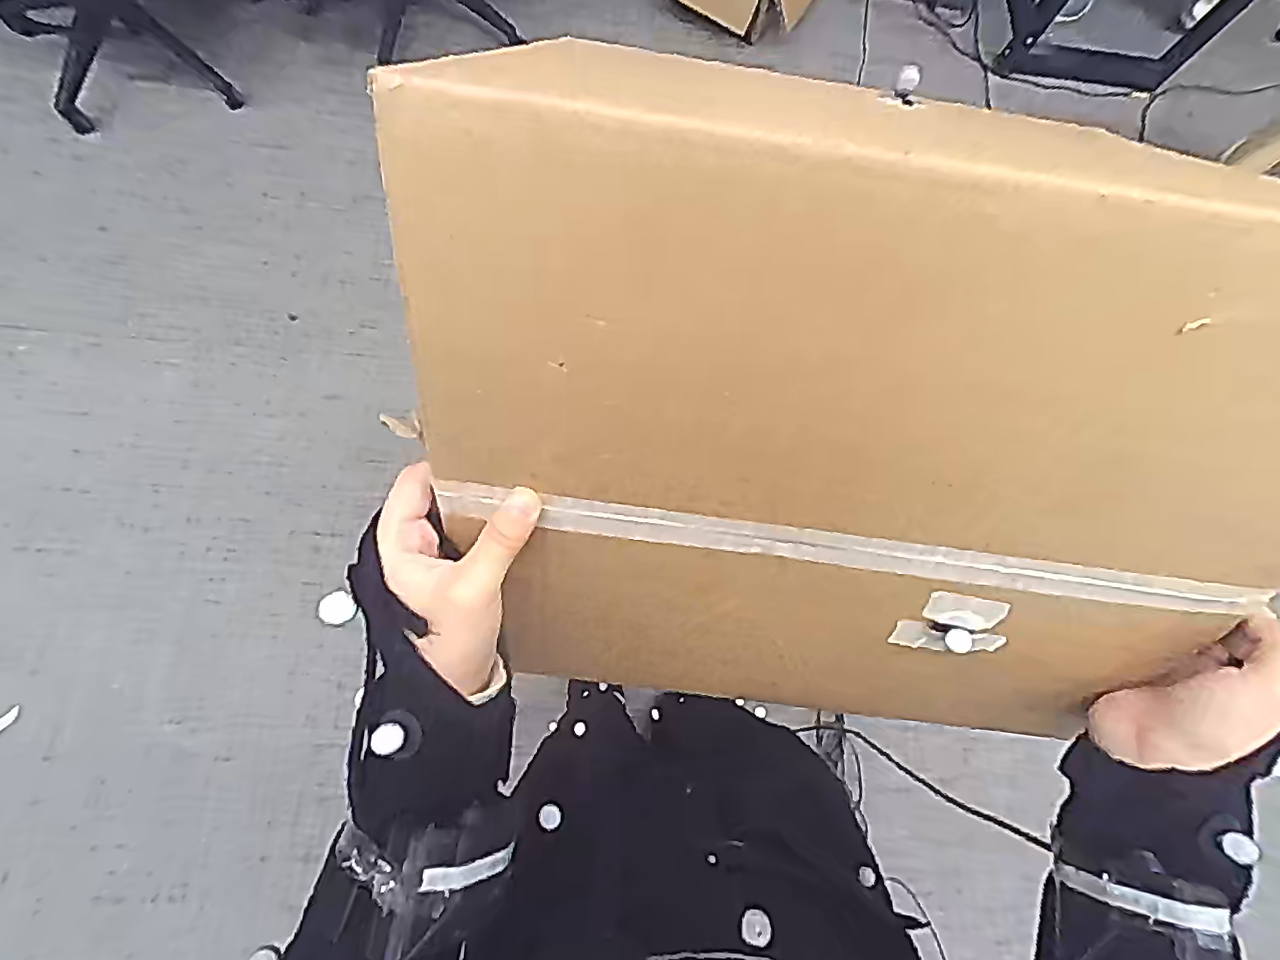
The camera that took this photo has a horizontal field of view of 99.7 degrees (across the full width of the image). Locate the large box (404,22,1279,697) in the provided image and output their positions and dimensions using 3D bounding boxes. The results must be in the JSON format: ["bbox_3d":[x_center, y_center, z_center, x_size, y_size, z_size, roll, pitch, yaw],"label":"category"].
[{"bbox_3d":[0.118,-0.087,0.369,0.408,0.320,0.320,7,41,-2],"label":"large box"}]
